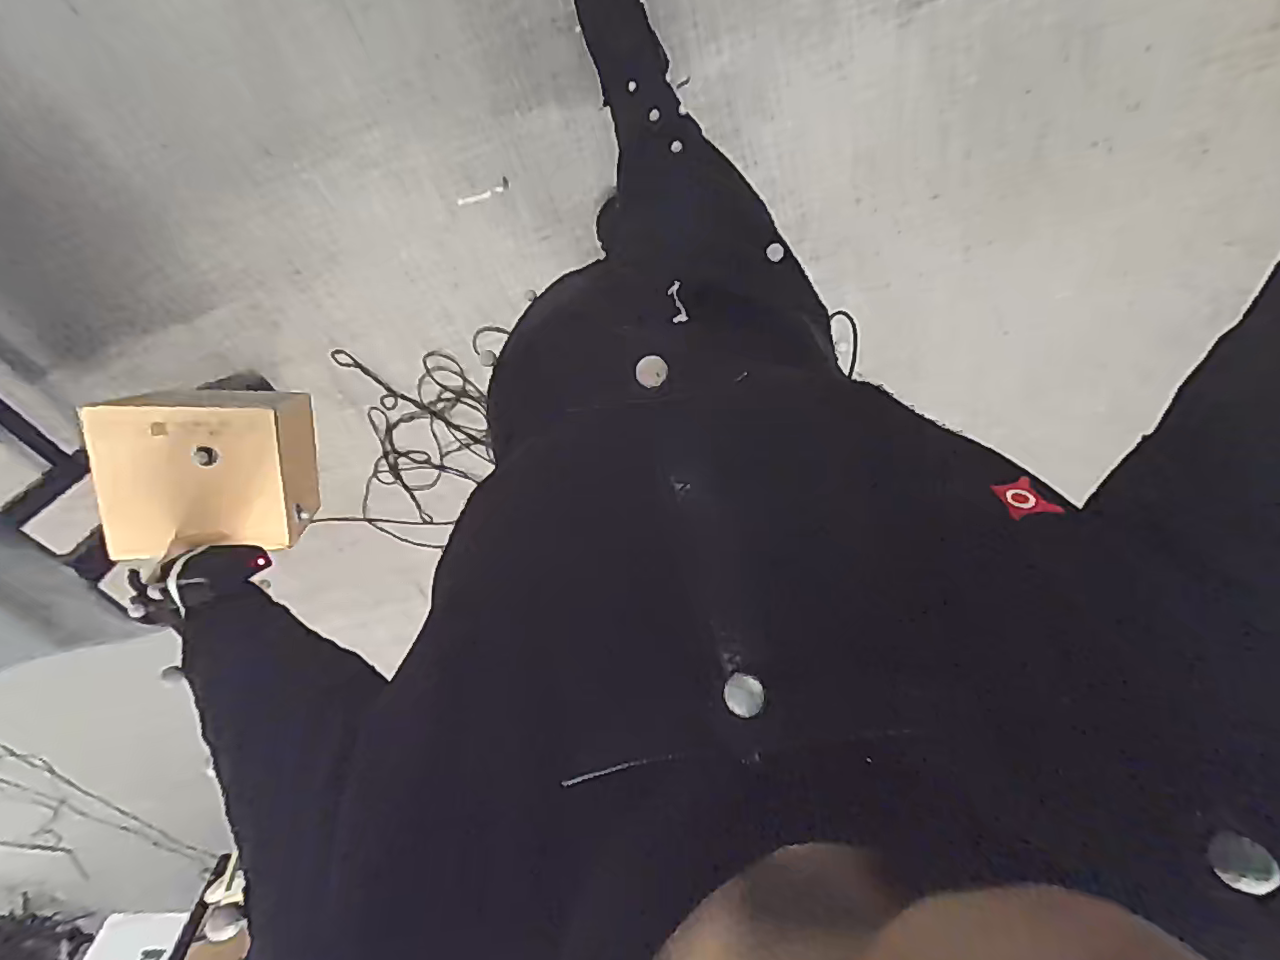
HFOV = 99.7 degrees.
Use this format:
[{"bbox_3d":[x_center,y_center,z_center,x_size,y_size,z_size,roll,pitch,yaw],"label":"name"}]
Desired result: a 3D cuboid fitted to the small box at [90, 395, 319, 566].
[{"bbox_3d":[-0.500,-0.012,0.651,0.168,0.179,0.176,-2,105,-20],"label":"small box"}]
